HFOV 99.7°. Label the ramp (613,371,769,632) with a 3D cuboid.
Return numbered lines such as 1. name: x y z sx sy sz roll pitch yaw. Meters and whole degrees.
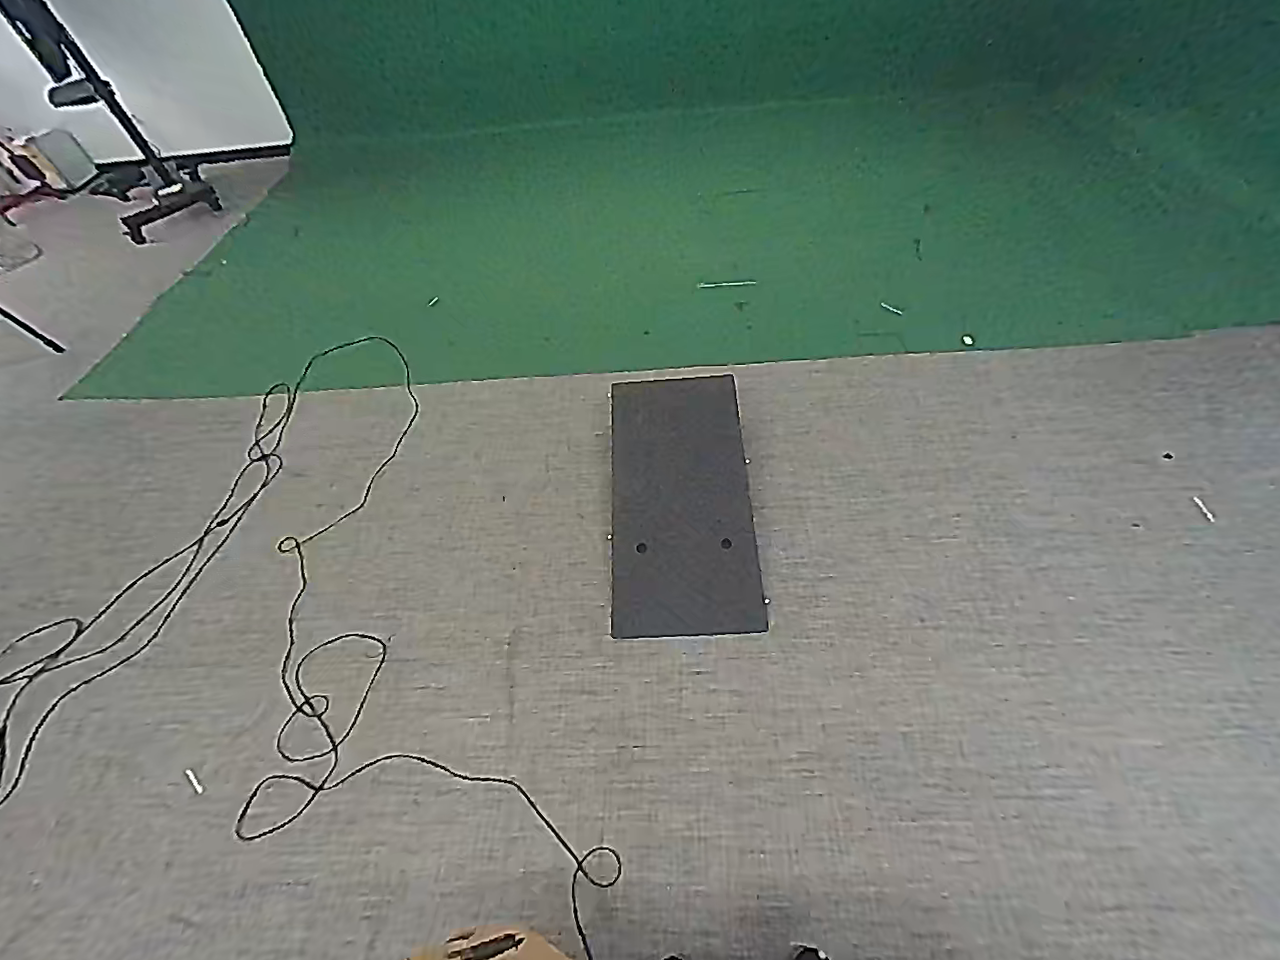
1. ramp: 0.149 0.026 1.916 0.509 0.206 0.991 -4 52 2
